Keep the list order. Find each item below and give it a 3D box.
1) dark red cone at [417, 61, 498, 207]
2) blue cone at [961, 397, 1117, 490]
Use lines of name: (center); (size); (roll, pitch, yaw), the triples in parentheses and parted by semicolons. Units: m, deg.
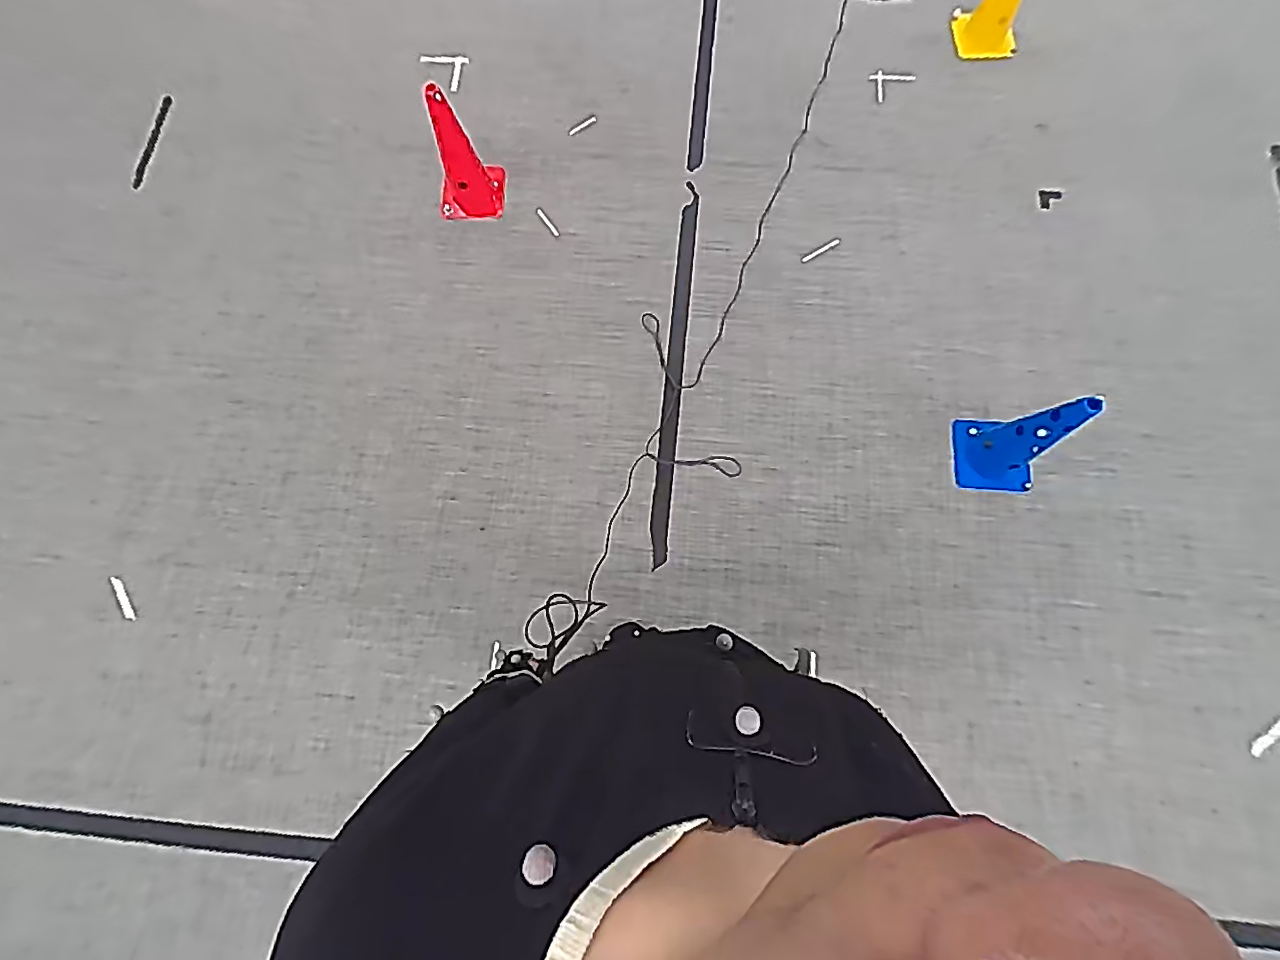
dark red cone: (-0.545, -0.982, 1.539); (0.201, 0.394, 0.202); (-2, 75, -1)
blue cone: (0.966, -0.109, 1.306); (0.192, 0.380, 0.193); (6, 75, 1)
